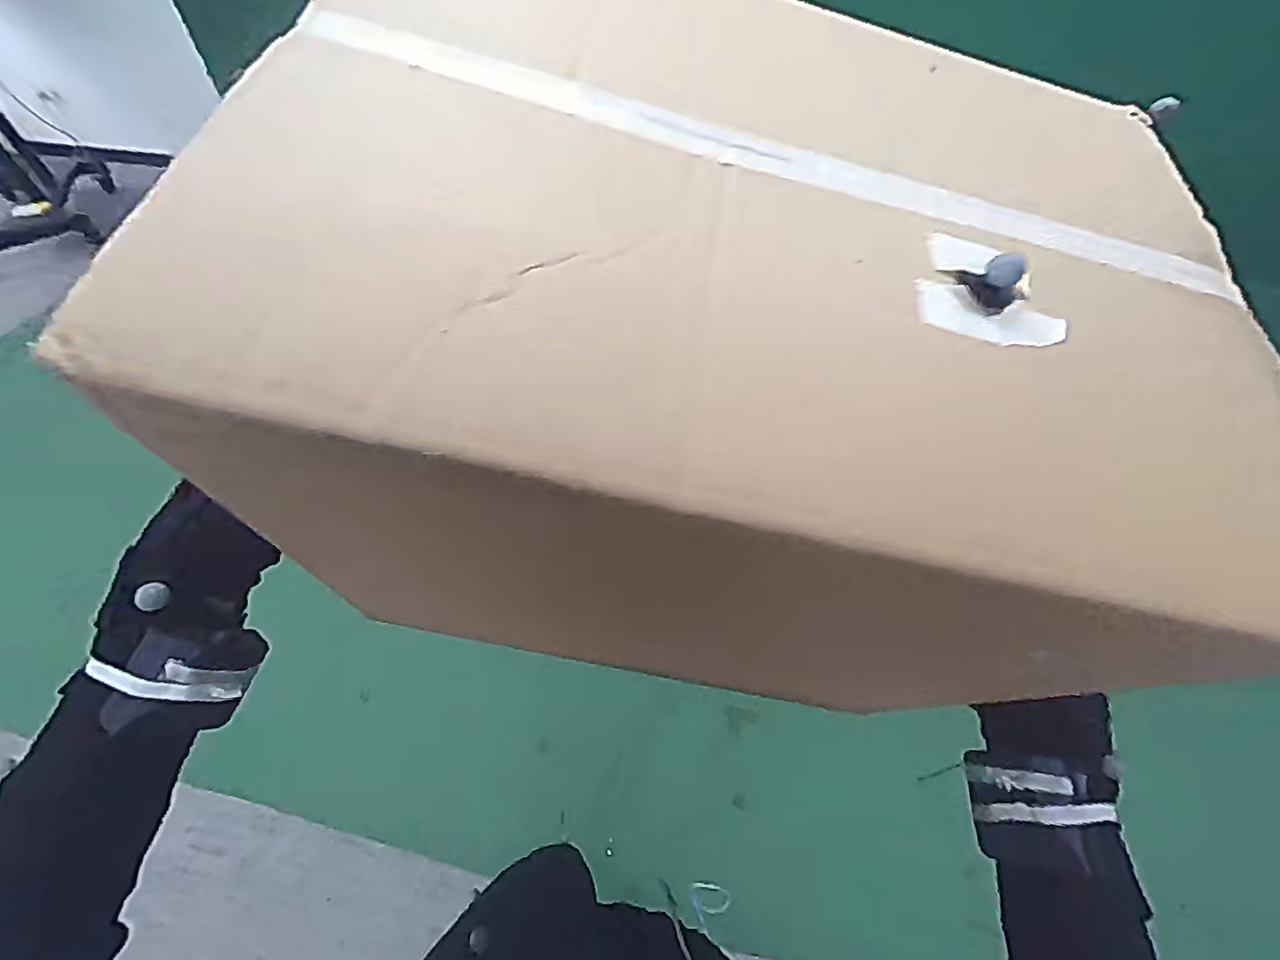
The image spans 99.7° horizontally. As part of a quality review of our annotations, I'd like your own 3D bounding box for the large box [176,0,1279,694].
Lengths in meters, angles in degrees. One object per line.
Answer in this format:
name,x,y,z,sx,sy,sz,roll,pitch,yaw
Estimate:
large box,0.050,-0.057,0.371,0.408,0.320,0.320,13,63,-6
